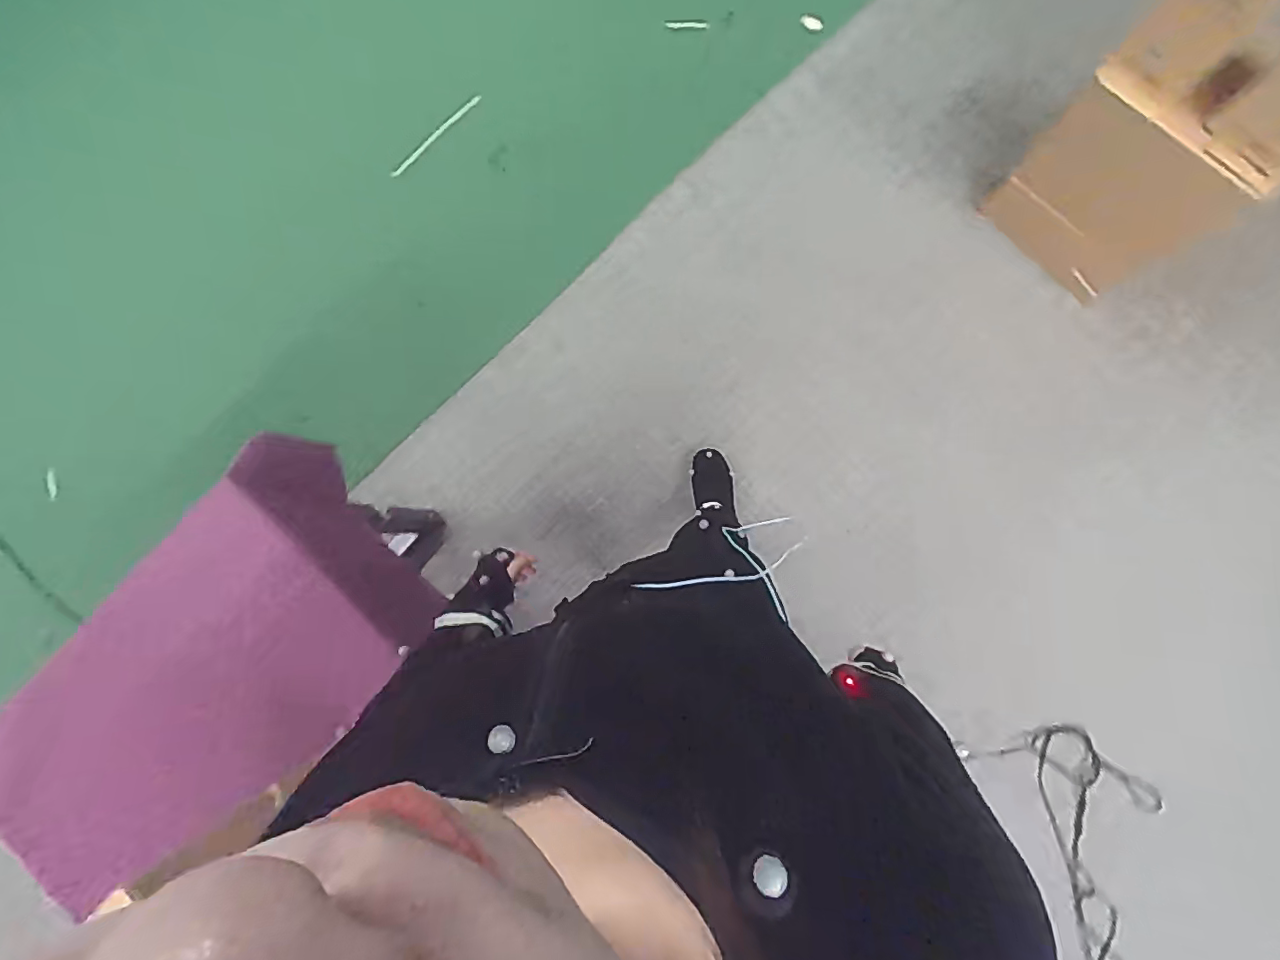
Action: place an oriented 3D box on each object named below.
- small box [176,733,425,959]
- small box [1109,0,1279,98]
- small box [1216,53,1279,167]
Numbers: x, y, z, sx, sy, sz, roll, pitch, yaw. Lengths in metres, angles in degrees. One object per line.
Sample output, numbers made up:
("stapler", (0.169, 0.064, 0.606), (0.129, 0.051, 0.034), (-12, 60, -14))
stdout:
("small box", (-0.419, 0.473, 0.700), (0.168, 0.176, 0.179), (45, 89, 6))
("small box", (1.040, -0.871, 0.996), (0.179, 0.176, 0.168), (-44, 85, 1))
("small box", (1.213, -0.712, 0.966), (0.179, 0.176, 0.168), (-41, 82, -1))
